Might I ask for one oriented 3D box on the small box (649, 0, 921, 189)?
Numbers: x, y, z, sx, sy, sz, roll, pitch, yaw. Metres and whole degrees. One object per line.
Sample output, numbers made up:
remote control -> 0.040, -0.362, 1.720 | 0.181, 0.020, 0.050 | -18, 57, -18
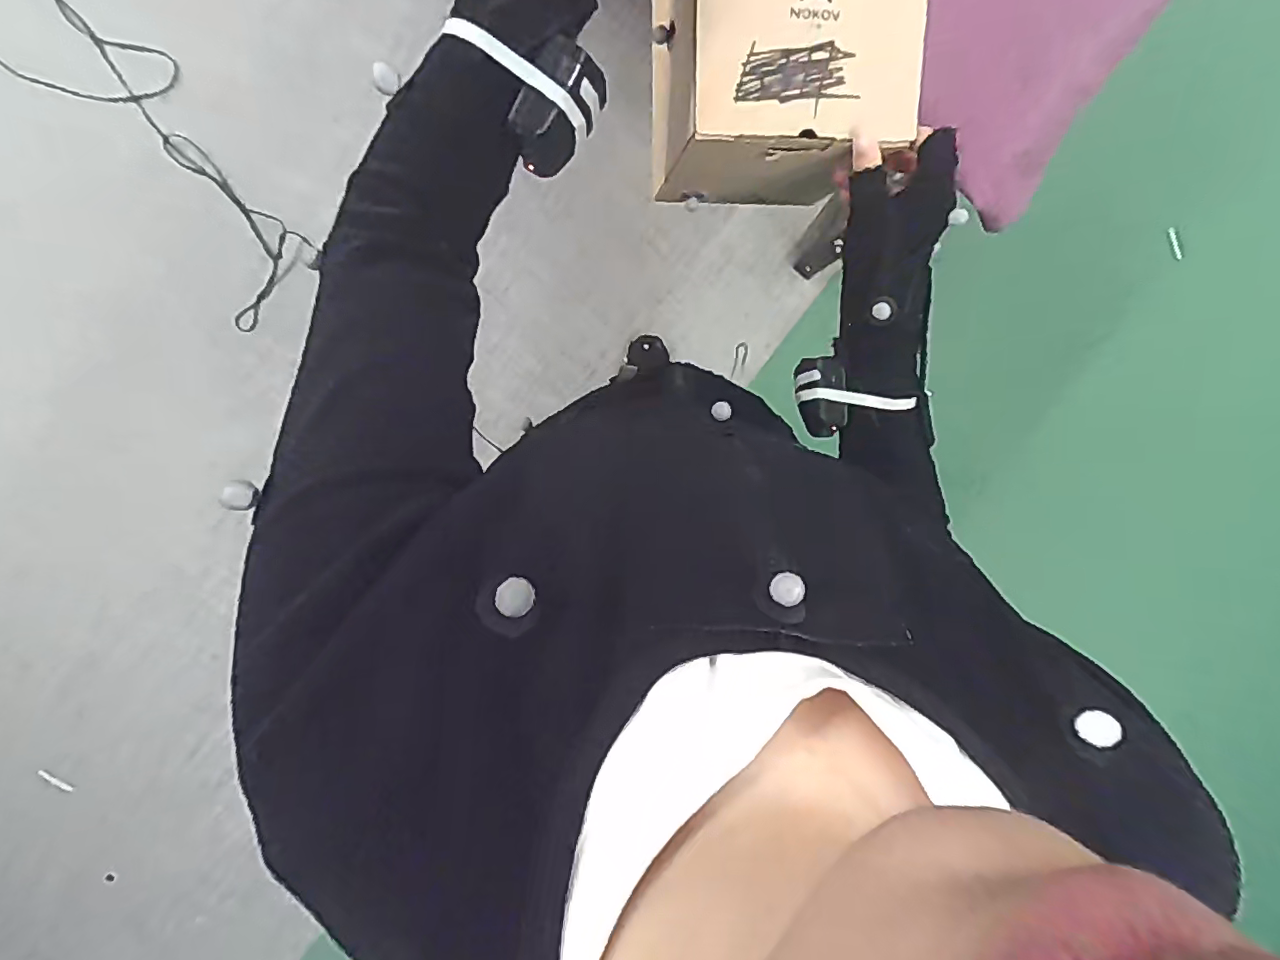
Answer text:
small box -> 0.101, -0.352, 0.437 | 0.168, 0.176, 0.179 | -3, 103, -8
